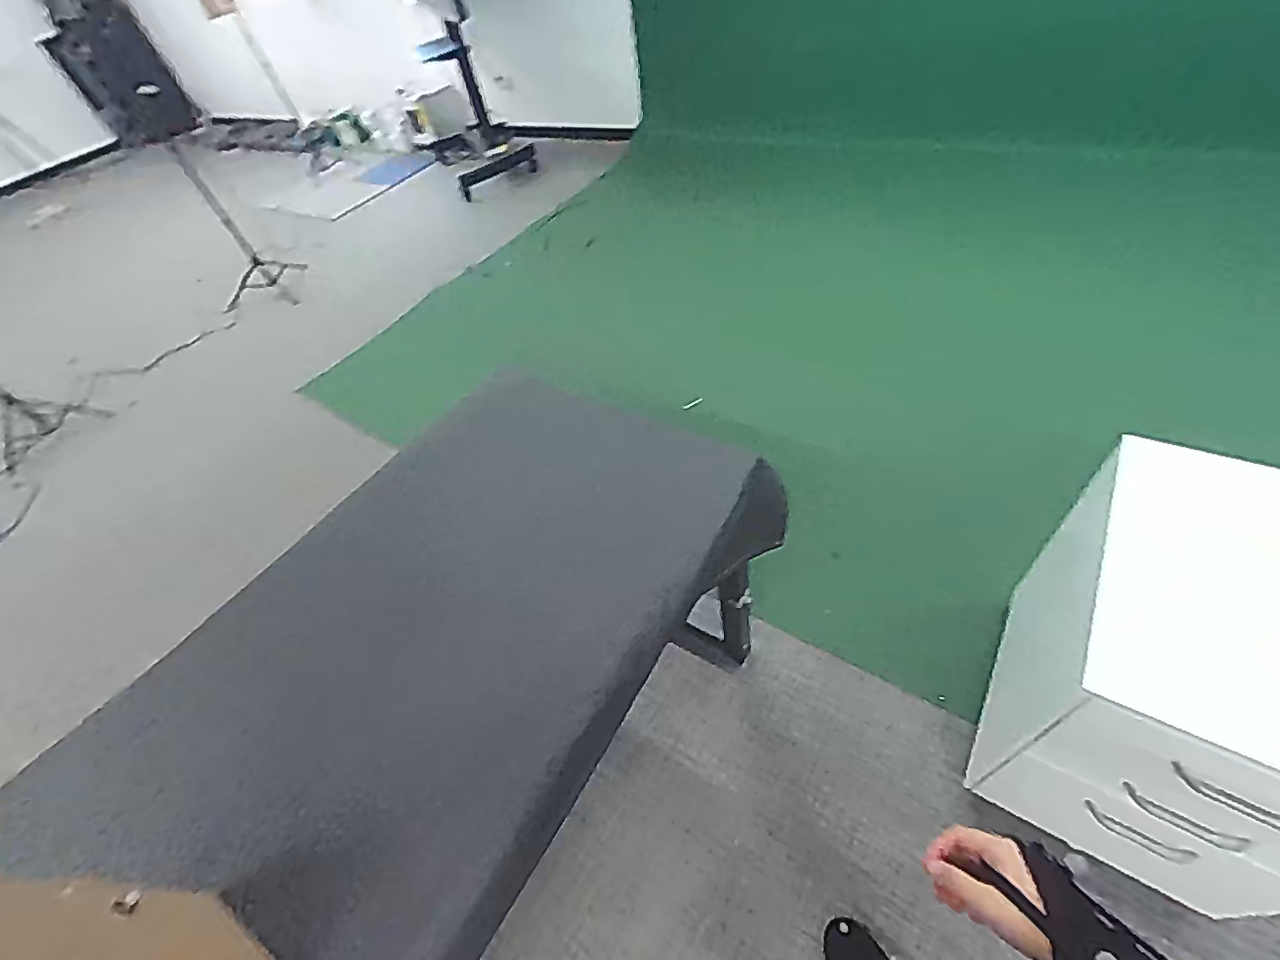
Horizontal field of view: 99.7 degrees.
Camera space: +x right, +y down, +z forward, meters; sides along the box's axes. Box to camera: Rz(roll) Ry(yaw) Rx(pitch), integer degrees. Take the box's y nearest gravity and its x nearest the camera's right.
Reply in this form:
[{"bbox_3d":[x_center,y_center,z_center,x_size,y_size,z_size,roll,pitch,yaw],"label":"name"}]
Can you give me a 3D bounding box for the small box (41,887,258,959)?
[{"bbox_3d":[-0.440,0.471,0.438,0.179,0.176,0.168,17,55,25],"label":"small box"}]
